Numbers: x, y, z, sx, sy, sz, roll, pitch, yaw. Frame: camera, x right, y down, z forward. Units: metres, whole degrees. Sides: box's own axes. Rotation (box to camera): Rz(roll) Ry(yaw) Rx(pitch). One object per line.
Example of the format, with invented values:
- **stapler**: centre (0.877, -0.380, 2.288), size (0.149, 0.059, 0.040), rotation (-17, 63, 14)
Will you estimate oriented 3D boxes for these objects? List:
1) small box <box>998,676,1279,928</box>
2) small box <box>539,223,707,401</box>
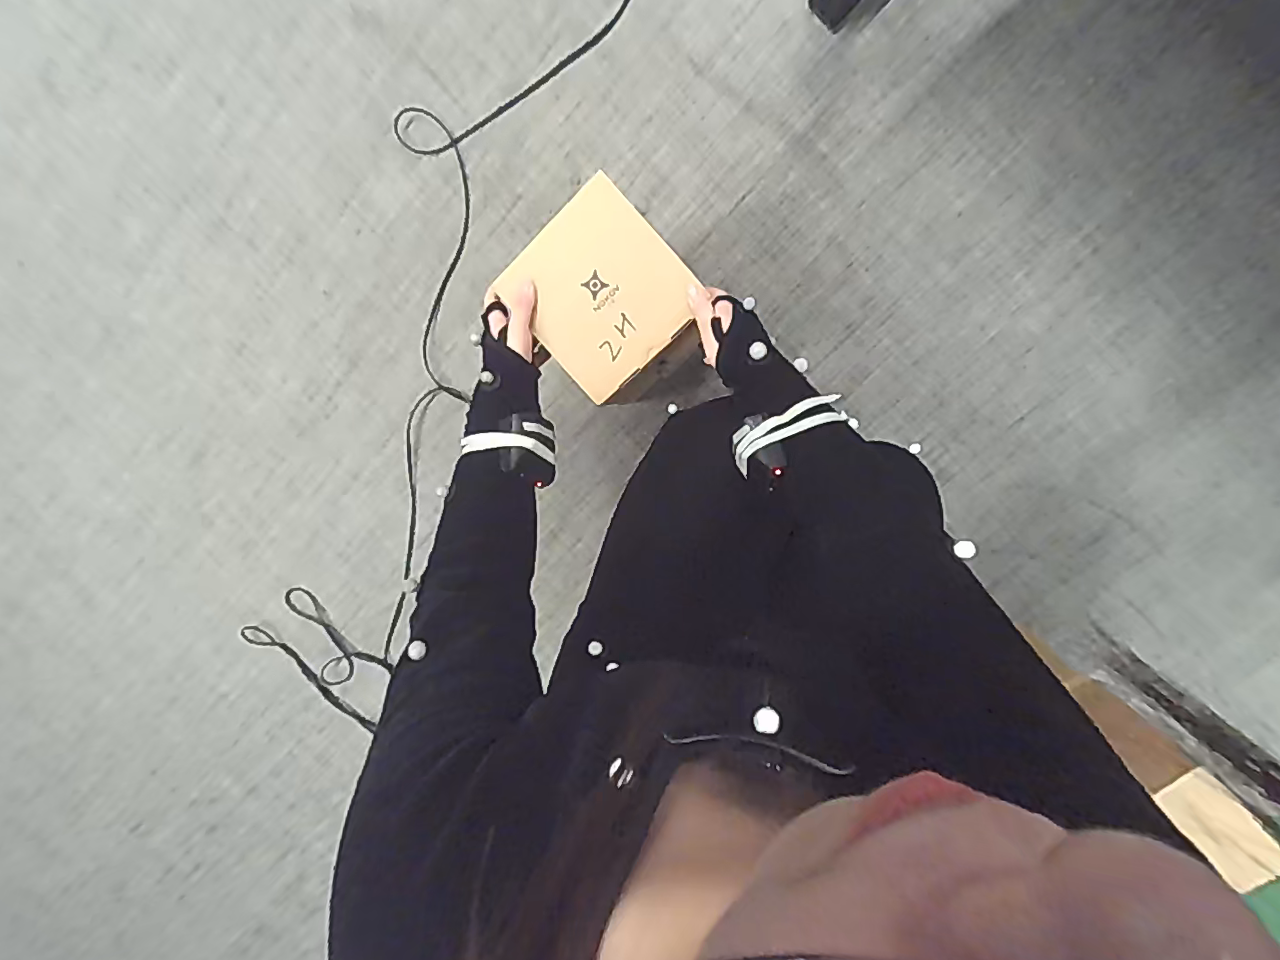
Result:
- **small box**: centre (0.597, 0.390, 0.680), size (0.179, 0.176, 0.168), rotation (-43, 95, 12)
- **small box**: centre (-0.015, -0.234, 0.803), size (0.179, 0.176, 0.168), rotation (-42, 93, 11)
